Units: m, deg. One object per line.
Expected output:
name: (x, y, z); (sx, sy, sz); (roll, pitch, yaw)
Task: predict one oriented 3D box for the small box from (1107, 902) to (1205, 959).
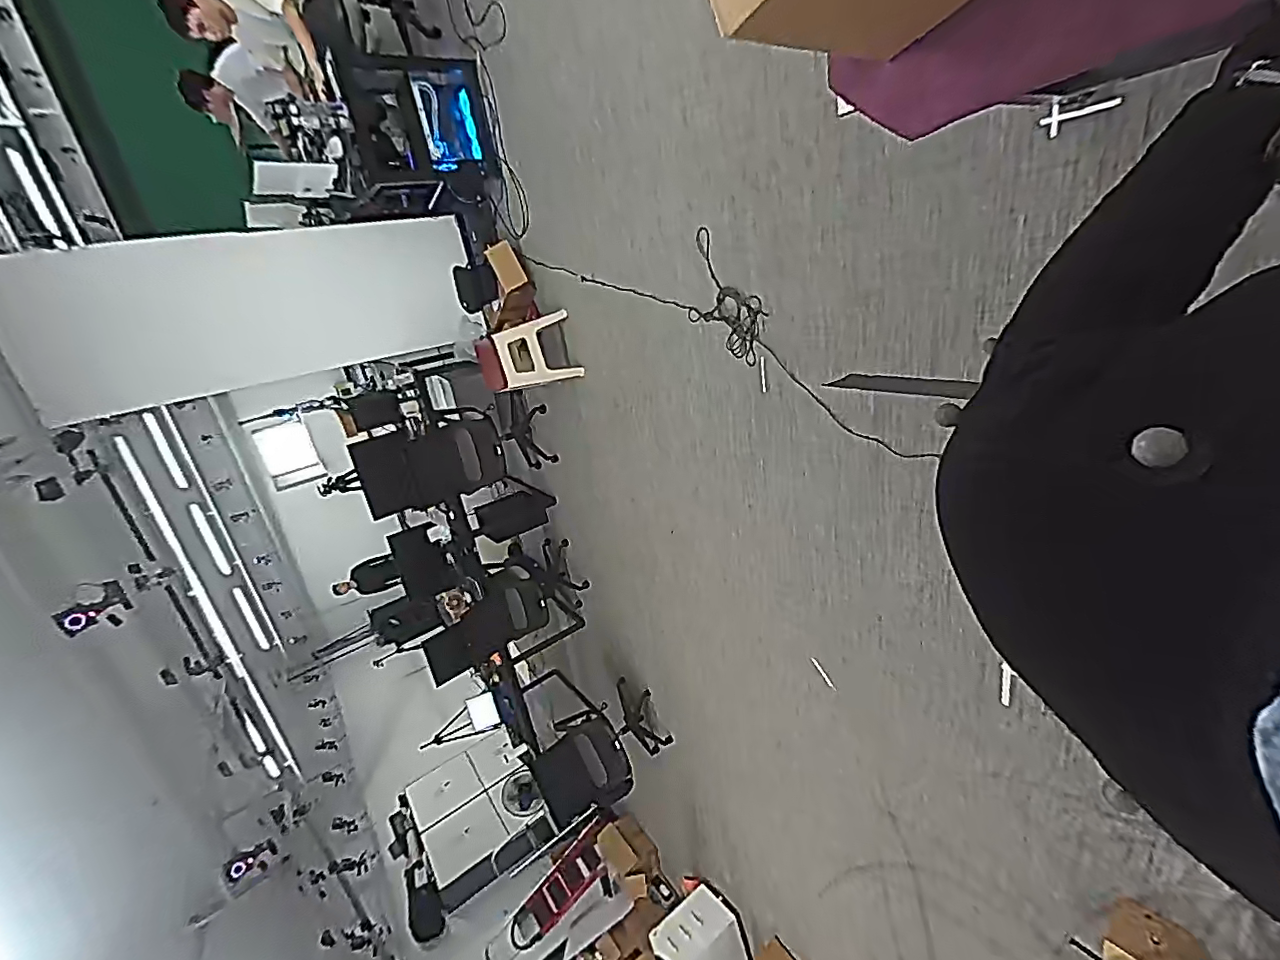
small box: (1.437, 1.348, 1.510); (0.168, 0.176, 0.179); (14, 122, 55)
